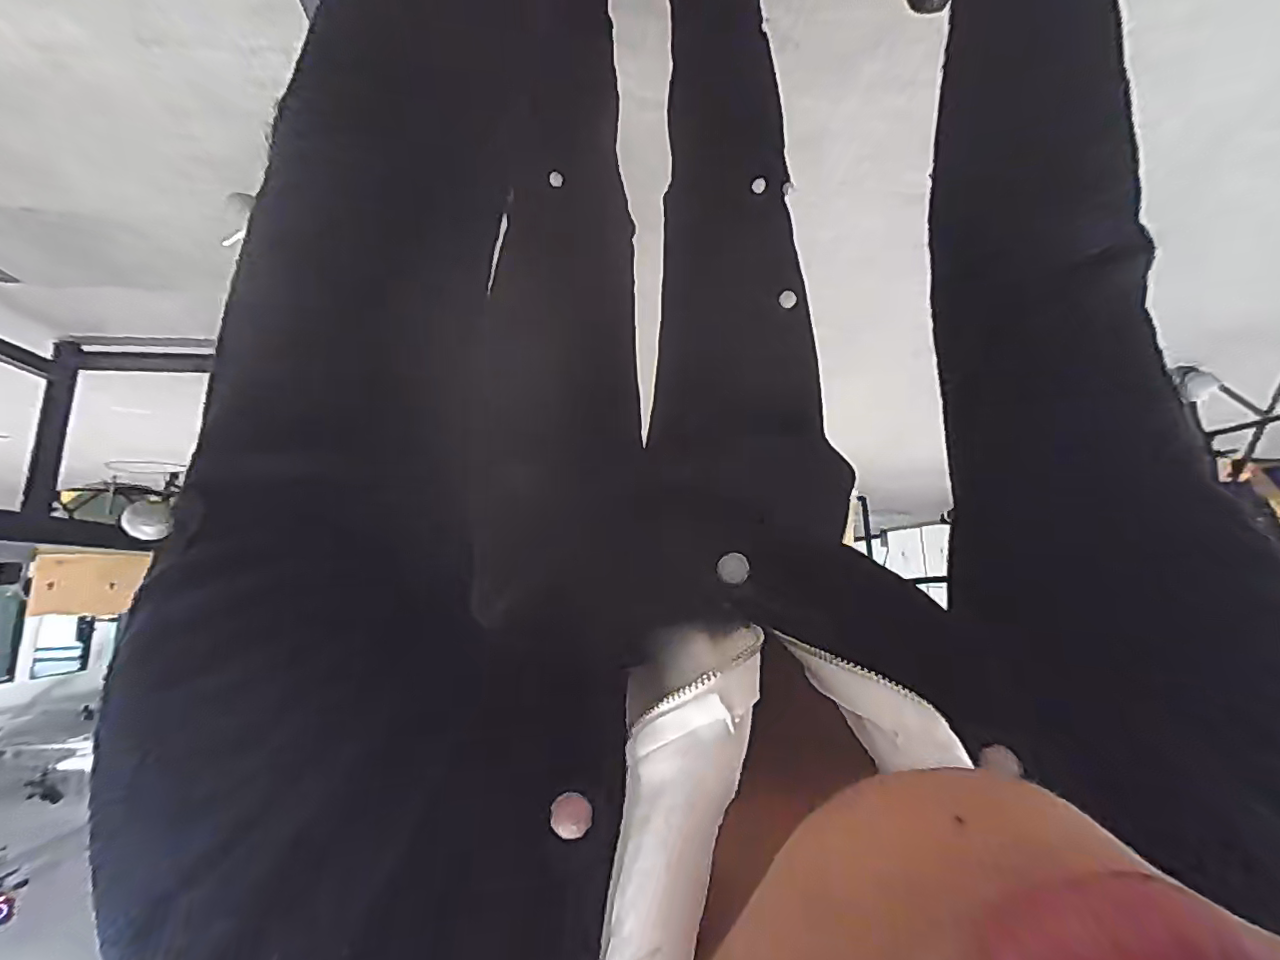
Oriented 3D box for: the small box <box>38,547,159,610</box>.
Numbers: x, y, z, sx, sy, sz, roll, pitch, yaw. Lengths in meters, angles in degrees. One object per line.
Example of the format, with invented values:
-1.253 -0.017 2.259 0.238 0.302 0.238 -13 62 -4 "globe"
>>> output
-1.526 0.277 1.533 0.168 0.176 0.179 1 170 -4 "small box"
